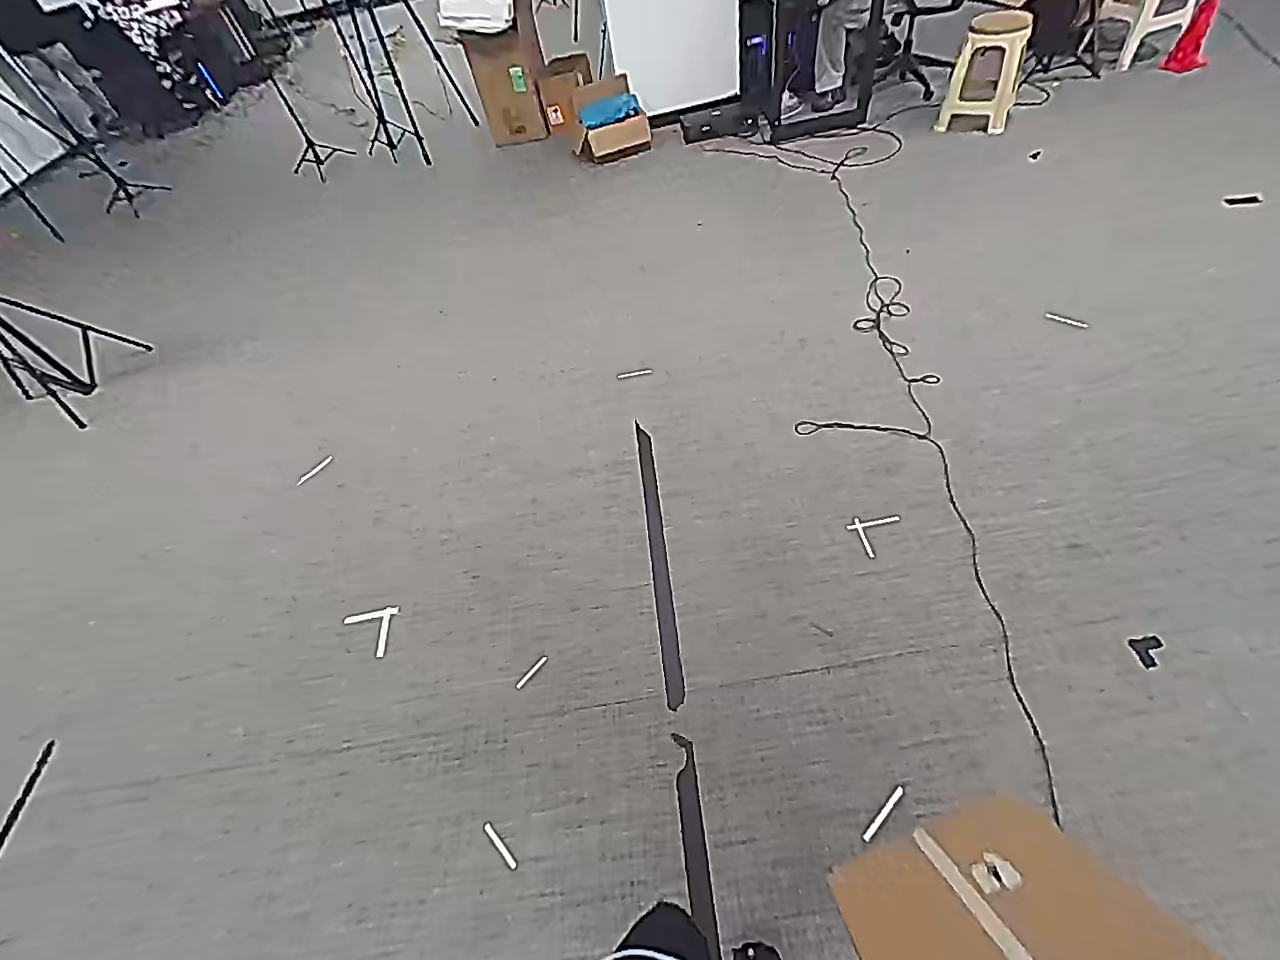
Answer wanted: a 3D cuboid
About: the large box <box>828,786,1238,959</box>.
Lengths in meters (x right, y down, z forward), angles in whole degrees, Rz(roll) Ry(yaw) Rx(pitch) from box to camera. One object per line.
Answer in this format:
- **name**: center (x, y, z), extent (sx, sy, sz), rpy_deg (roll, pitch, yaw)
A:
- **large box**: center (0.486, 0.655, 0.624), extent (0.320, 0.408, 0.320), rpy_deg (-25, 85, 0)
